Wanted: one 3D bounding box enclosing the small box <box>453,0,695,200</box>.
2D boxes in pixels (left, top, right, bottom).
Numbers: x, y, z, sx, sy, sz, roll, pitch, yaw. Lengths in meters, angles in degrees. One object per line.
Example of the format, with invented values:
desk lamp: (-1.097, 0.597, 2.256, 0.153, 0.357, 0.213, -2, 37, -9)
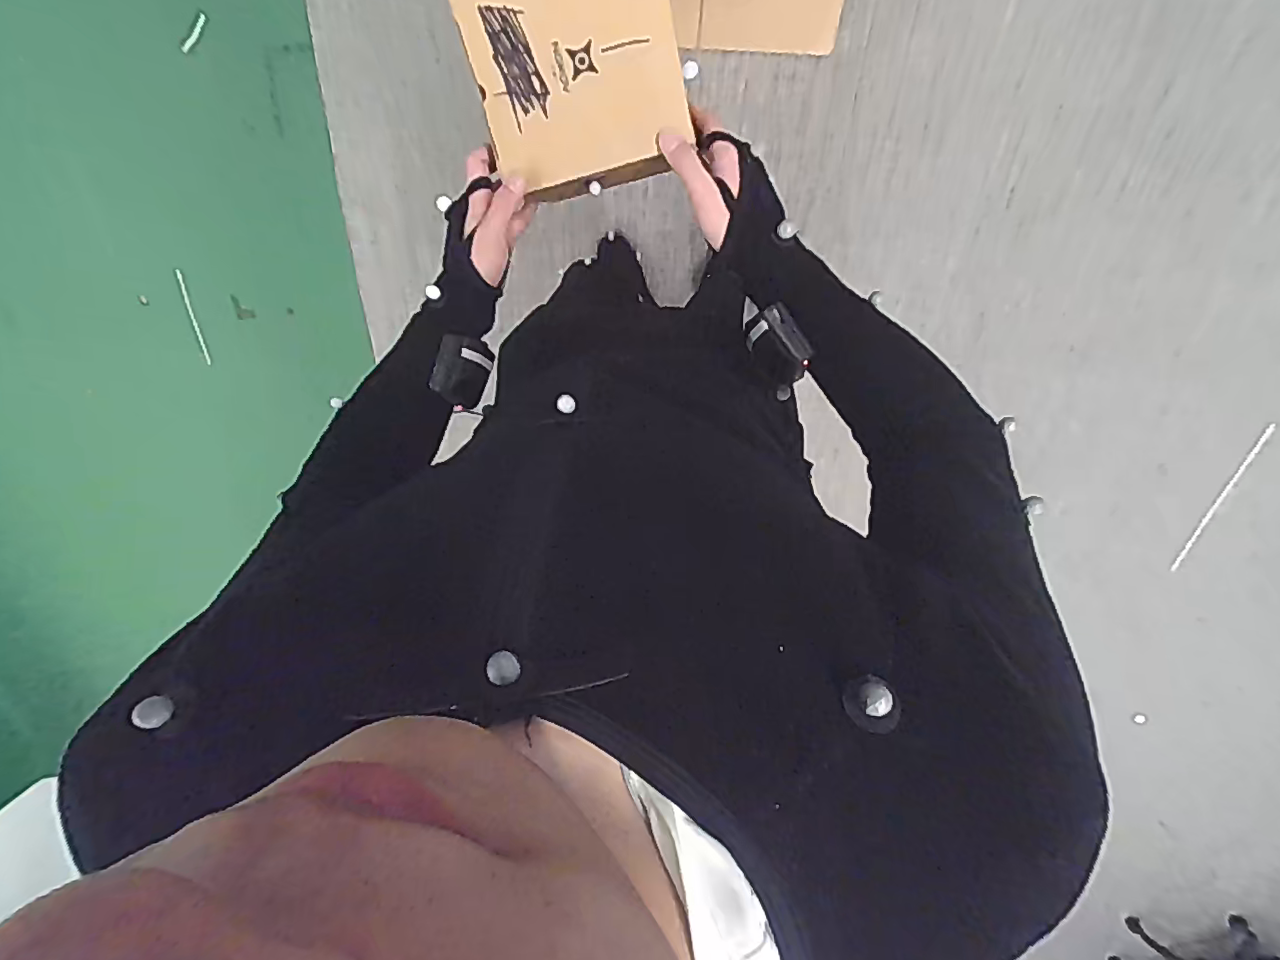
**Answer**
small box: (-0.045, -0.379, 0.519, 0.179, 0.176, 0.168, -10, 114, 10)
